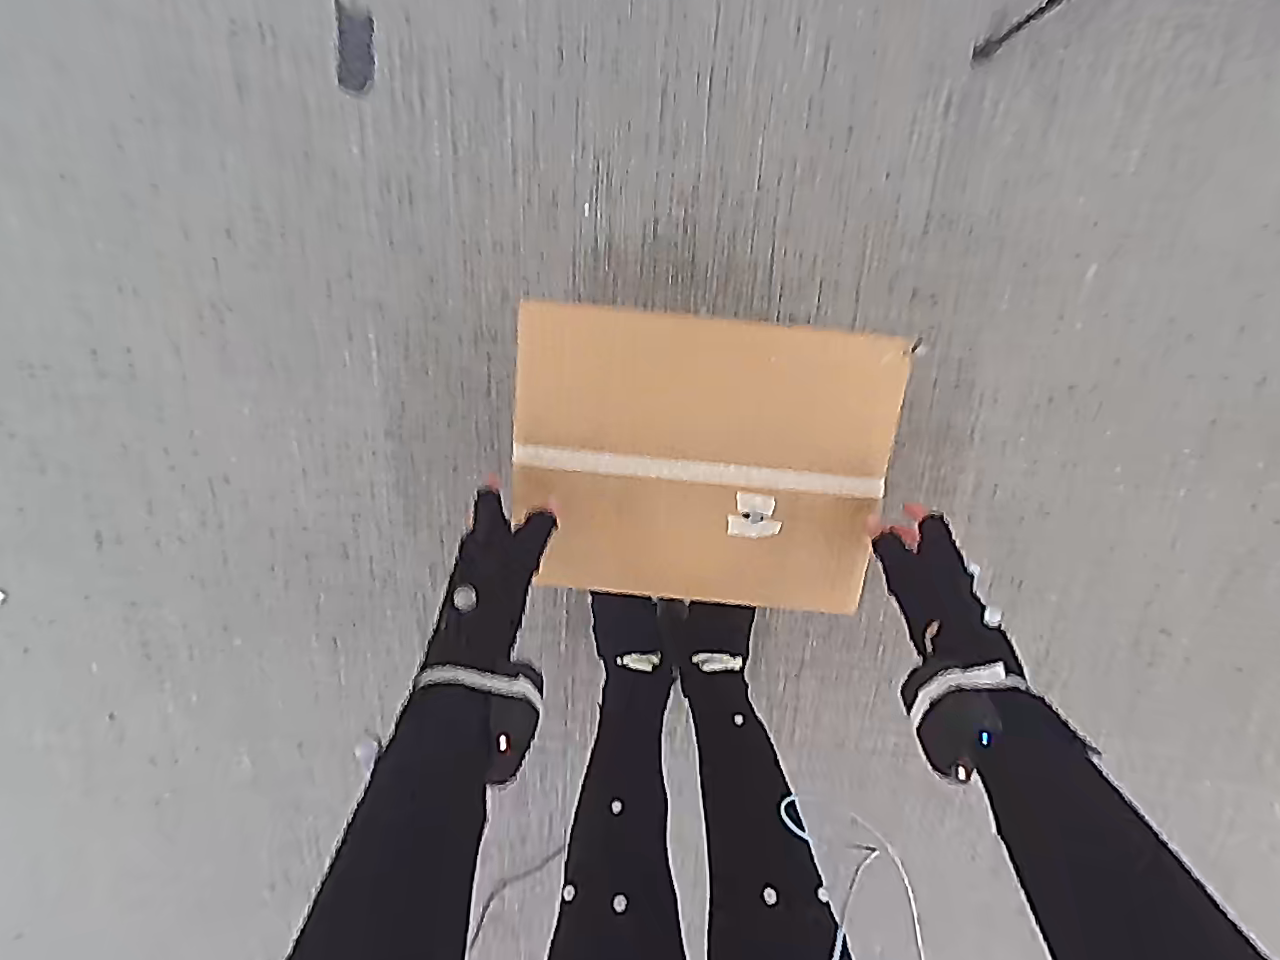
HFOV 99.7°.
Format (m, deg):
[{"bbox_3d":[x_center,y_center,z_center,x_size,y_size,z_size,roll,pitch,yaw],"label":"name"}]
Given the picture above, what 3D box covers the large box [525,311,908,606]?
[{"bbox_3d":[0.073,-0.049,0.742,0.408,0.320,0.320,5,106,0],"label":"large box"}]
